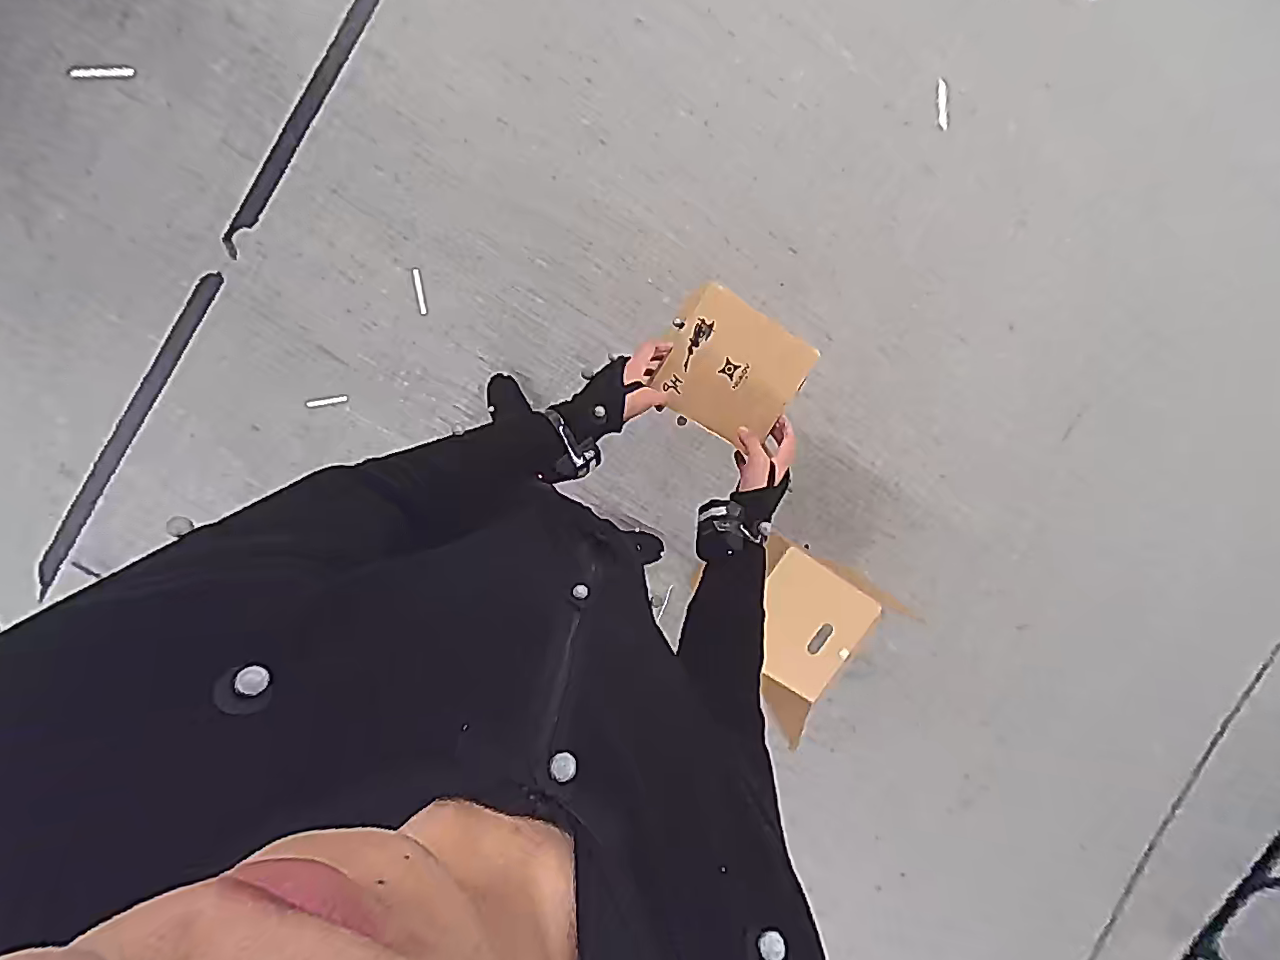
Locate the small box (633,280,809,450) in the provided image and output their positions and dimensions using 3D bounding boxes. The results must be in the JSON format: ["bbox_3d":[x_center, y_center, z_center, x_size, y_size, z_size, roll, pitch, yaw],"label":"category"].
[{"bbox_3d":[0.106,-0.170,0.792,0.179,0.176,0.168,29,101,-12],"label":"small box"}]
